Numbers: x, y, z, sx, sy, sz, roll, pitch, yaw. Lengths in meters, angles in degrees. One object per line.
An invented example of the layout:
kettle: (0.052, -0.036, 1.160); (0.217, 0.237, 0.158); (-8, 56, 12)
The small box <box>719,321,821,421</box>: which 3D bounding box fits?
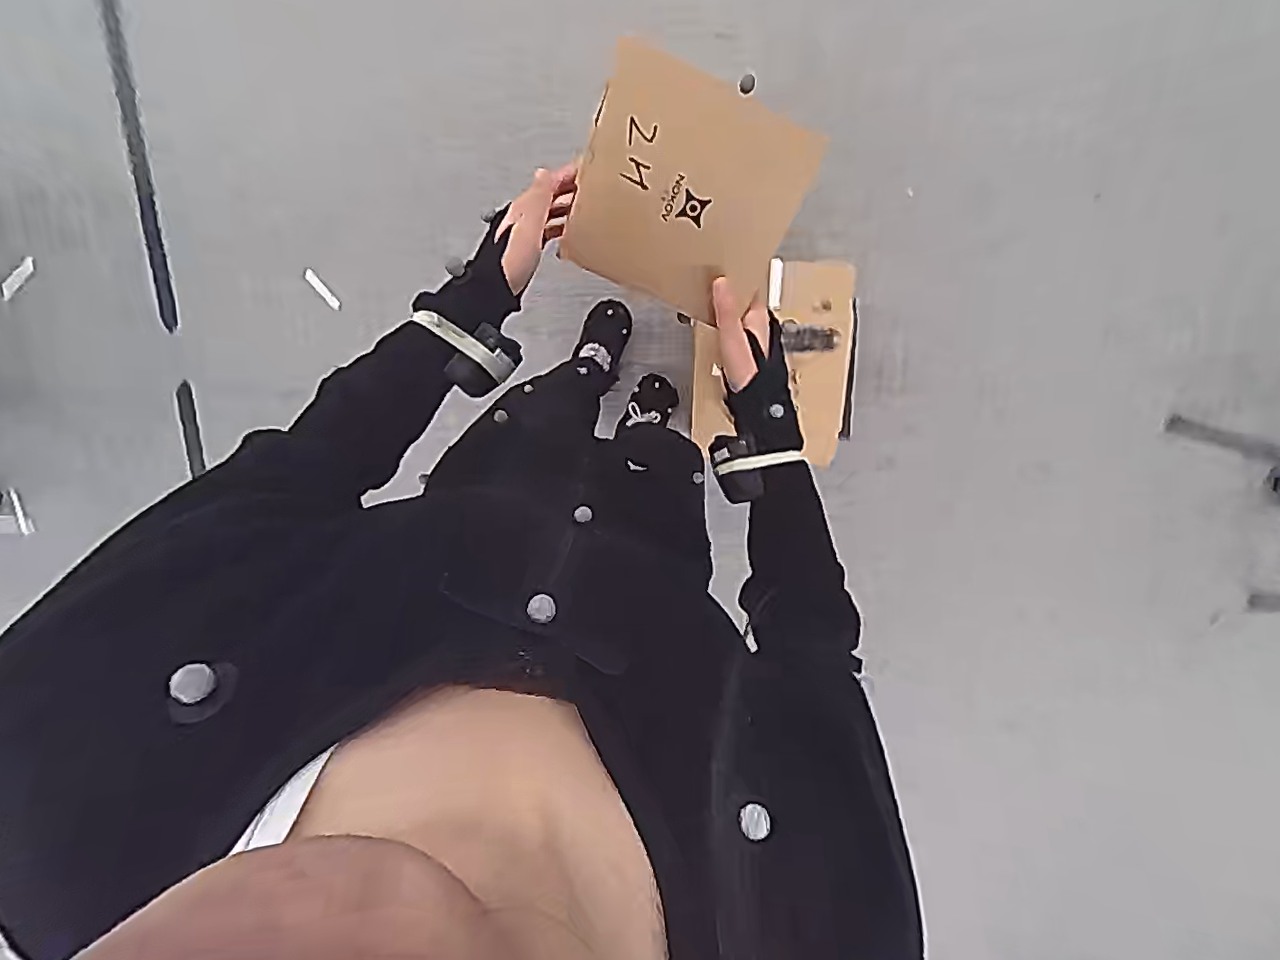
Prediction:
small box: (0.241, -0.212, 1.043); (0.168, 0.176, 0.179); (1, 104, 5)
